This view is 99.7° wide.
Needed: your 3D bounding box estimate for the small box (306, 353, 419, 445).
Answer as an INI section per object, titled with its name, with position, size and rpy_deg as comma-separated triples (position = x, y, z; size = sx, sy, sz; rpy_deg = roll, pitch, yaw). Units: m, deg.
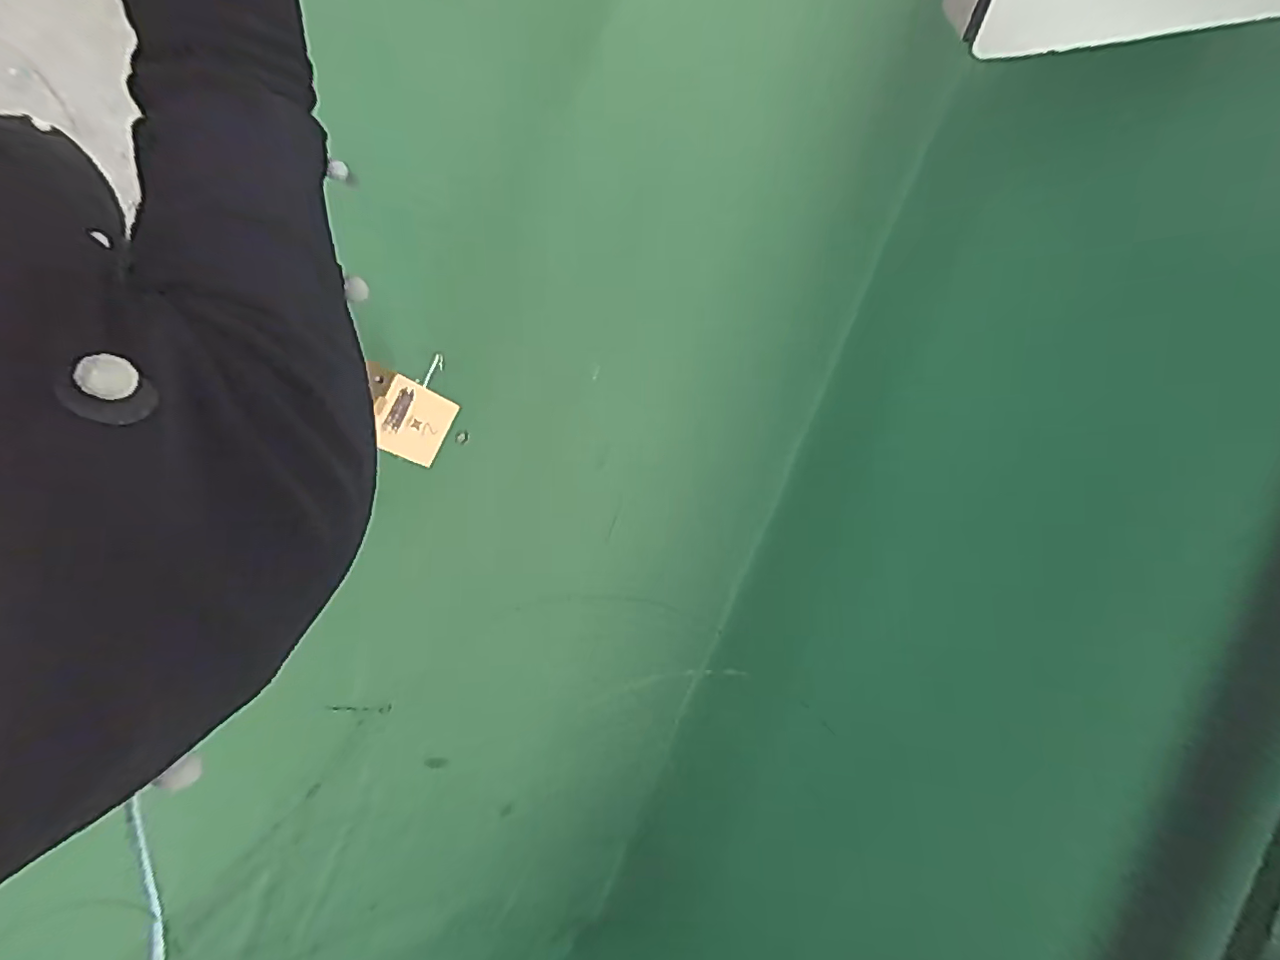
[small box]
position = -0.703, -0.207, 1.364
size = 0.179, 0.176, 0.168
rpy_deg = 26, 87, -51
